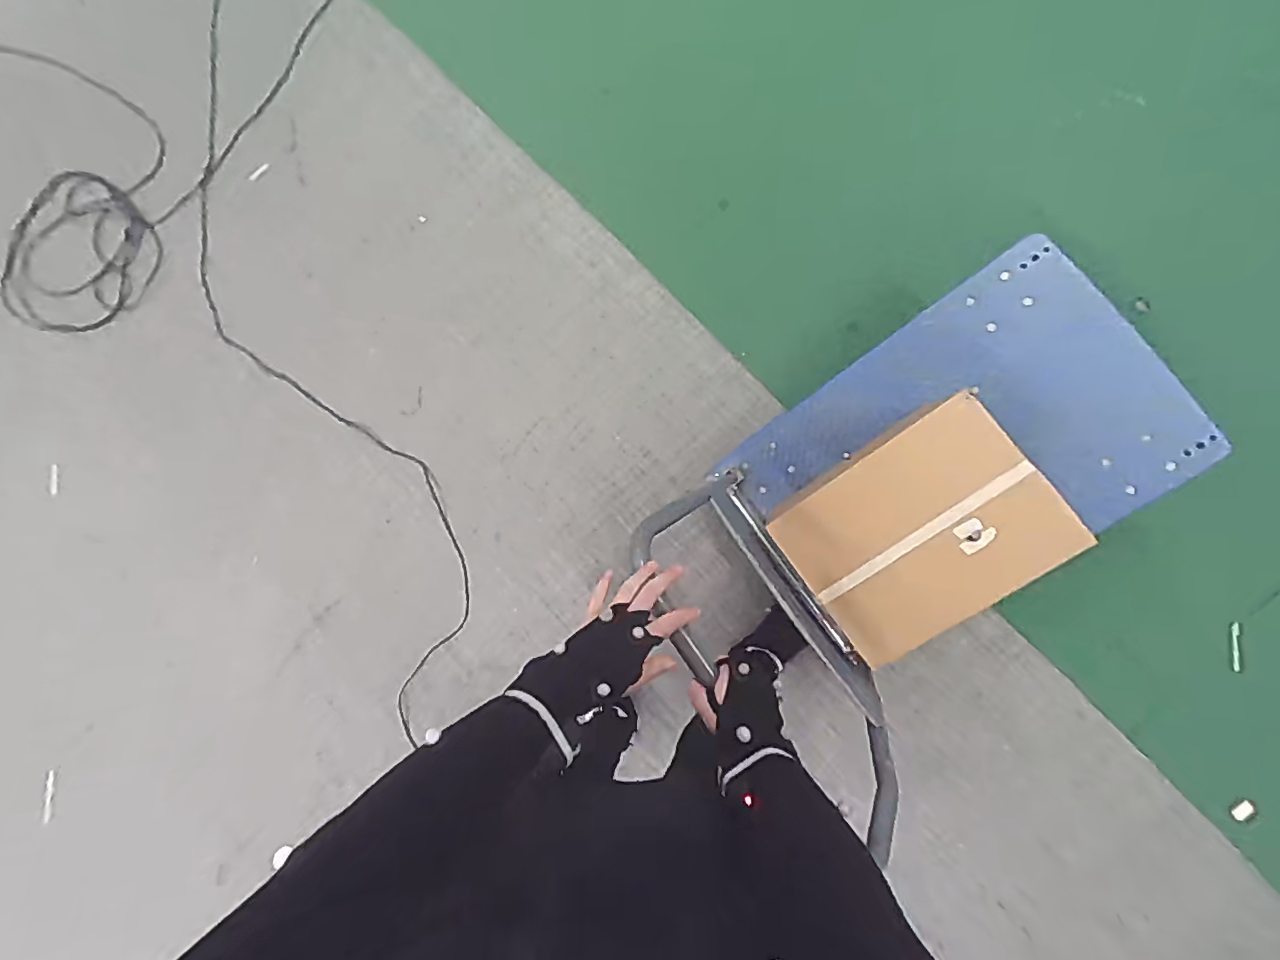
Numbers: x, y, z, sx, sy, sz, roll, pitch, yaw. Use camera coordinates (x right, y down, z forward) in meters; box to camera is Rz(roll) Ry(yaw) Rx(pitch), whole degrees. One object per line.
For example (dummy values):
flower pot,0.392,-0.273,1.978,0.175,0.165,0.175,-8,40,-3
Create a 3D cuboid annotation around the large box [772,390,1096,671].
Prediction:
large box,0.513,0.090,1.049,0.408,0.320,0.320,-37,83,13
